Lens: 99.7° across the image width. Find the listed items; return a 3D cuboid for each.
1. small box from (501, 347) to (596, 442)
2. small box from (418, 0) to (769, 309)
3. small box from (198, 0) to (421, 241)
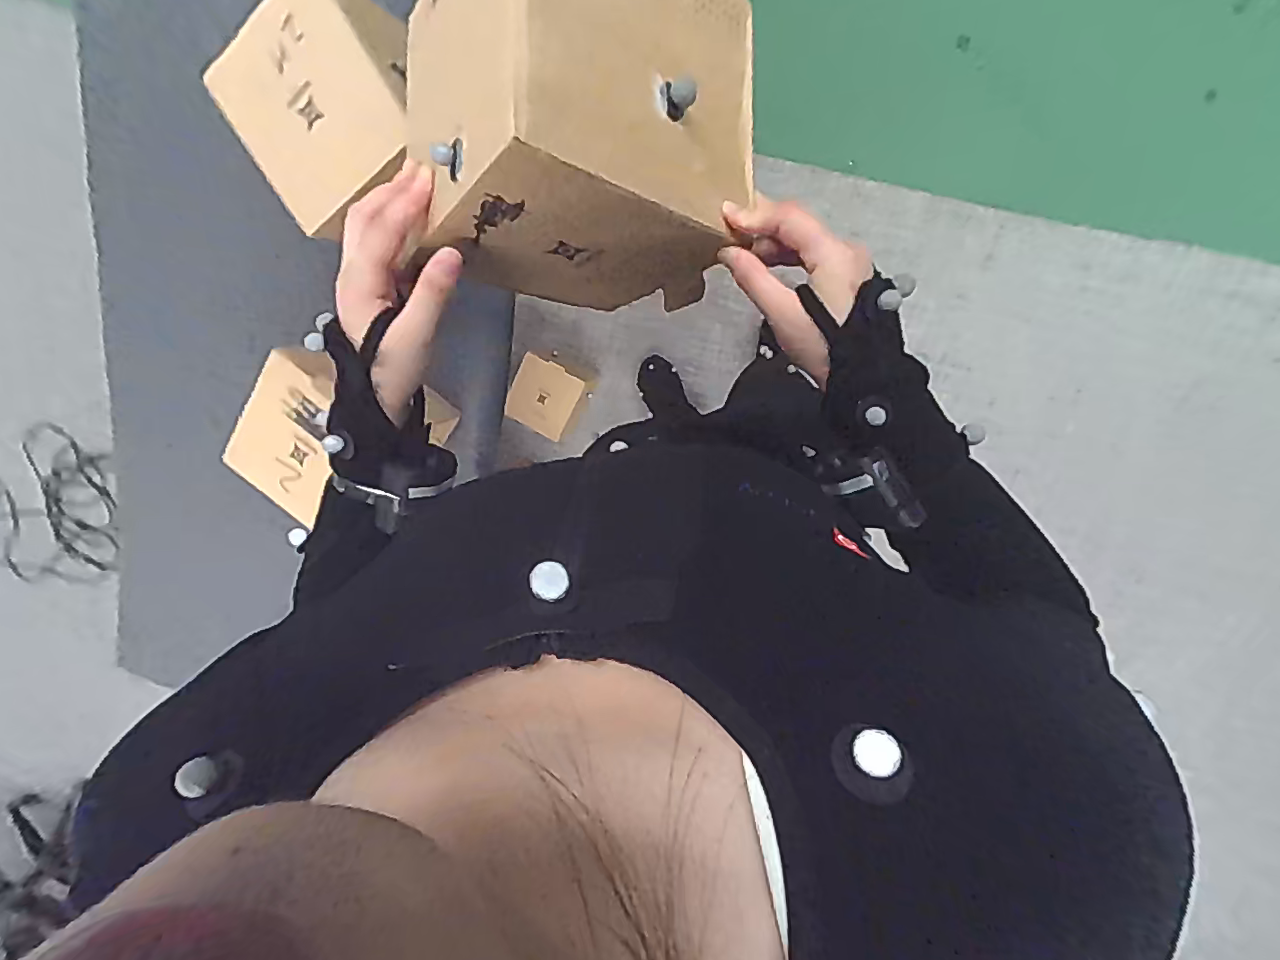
[{"bbox_3d":[-0.228,-0.229,1.396,0.168,0.176,0.179,28,111,1],"label":"small box"},{"bbox_3d":[-0.031,-0.230,0.355,0.168,0.179,0.176,-2,88,51],"label":"small box"},{"bbox_3d":[-0.299,-0.378,0.582,0.168,0.176,0.179,-28,100,19],"label":"small box"}]
